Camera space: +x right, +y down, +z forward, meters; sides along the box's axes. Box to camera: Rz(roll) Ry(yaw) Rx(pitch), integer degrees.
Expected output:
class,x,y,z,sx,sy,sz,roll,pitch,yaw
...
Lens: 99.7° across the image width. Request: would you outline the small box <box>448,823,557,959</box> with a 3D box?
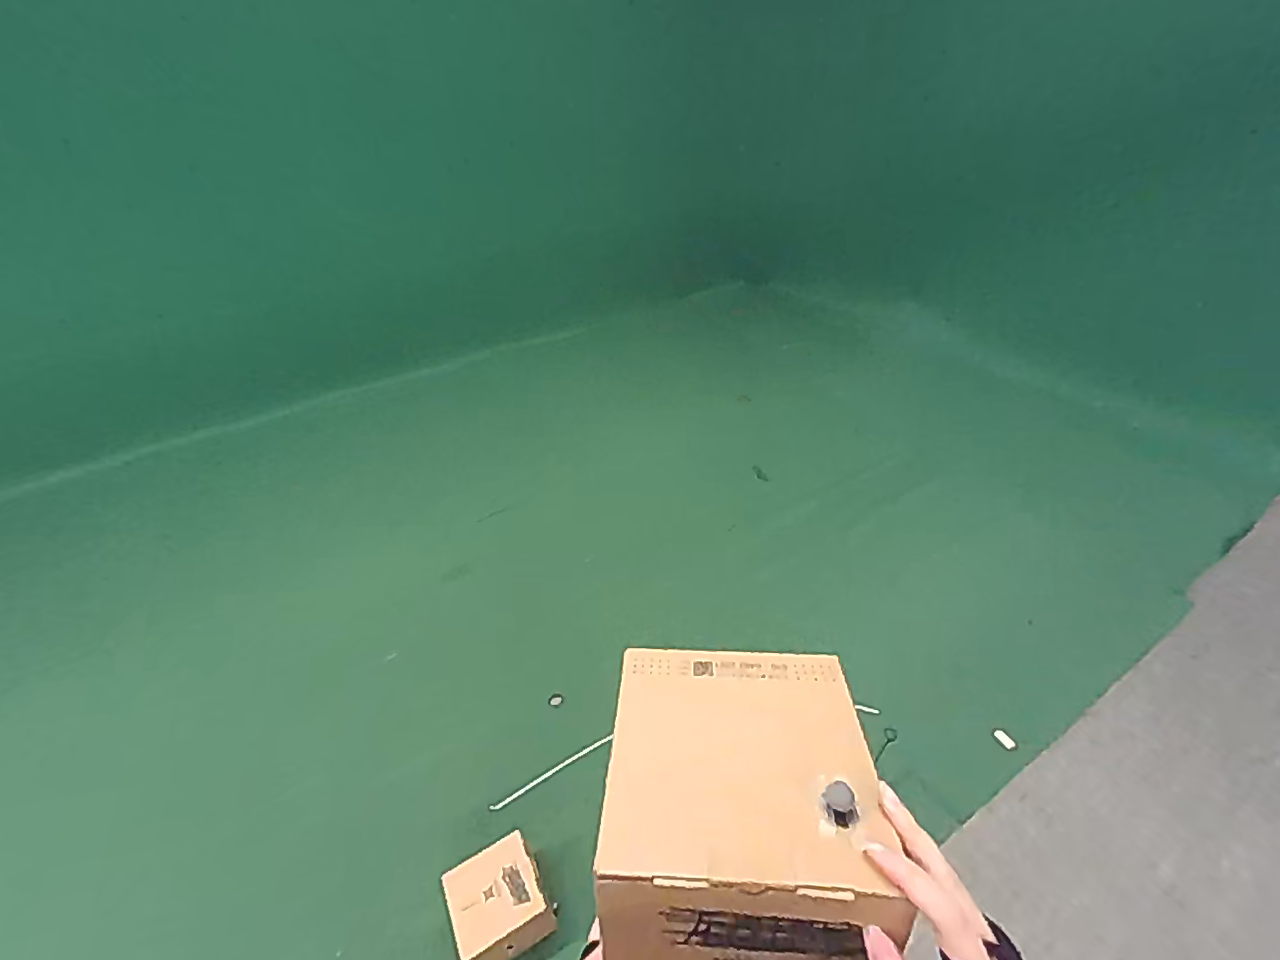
class,x,y,z,sx,sy,sz,roll,pitch,yaw
small box,-0.290,0.896,1.172,0.179,0.176,0.168,-23,44,-19
